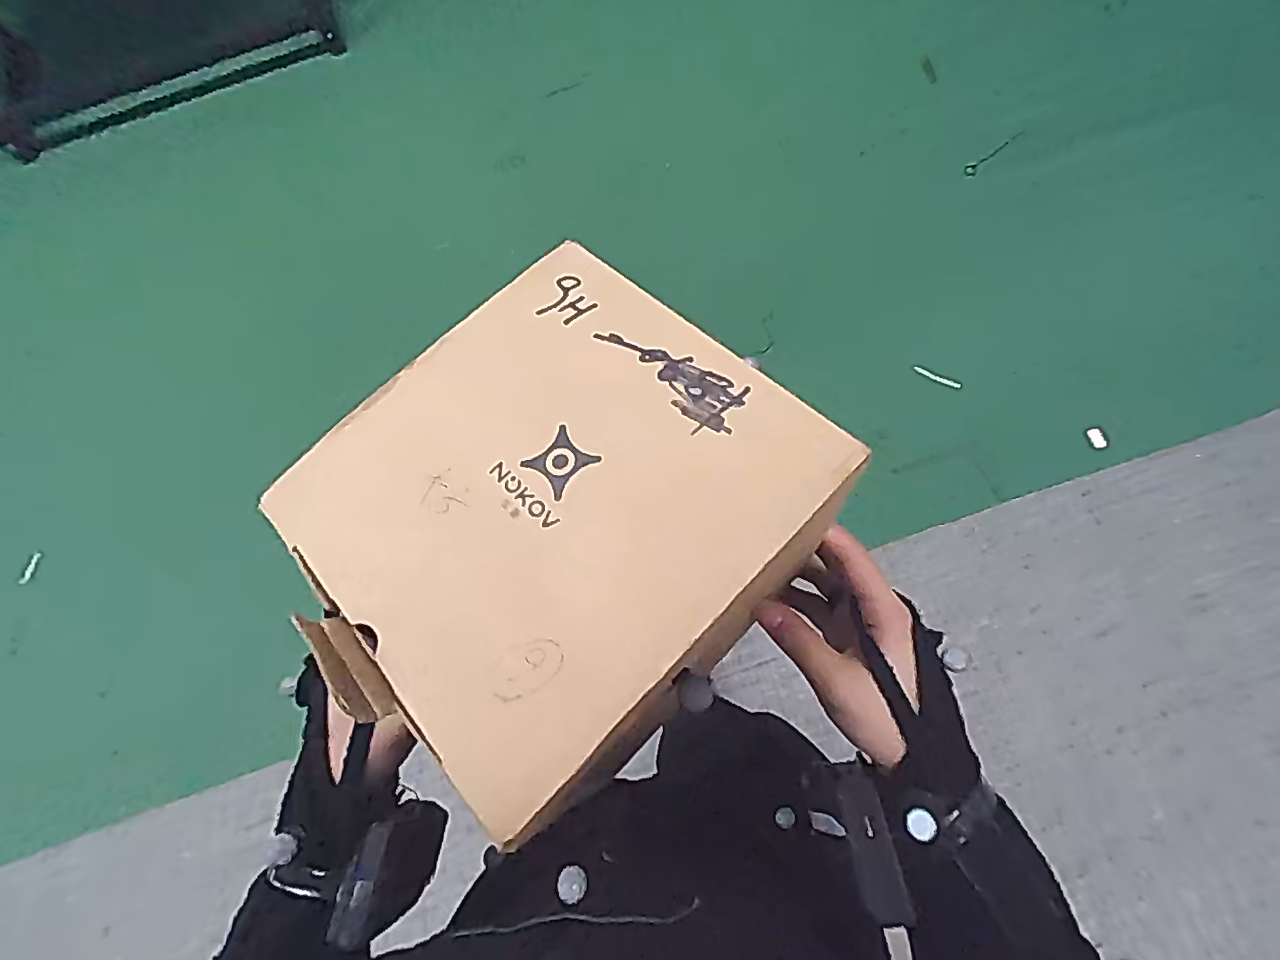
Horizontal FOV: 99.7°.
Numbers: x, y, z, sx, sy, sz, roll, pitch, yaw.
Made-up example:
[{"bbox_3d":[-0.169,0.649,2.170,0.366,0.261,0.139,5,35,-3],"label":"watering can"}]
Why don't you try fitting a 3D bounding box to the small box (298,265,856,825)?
[{"bbox_3d":[-0.020,0.035,0.289,0.168,0.176,0.179,41,79,21],"label":"small box"}]
